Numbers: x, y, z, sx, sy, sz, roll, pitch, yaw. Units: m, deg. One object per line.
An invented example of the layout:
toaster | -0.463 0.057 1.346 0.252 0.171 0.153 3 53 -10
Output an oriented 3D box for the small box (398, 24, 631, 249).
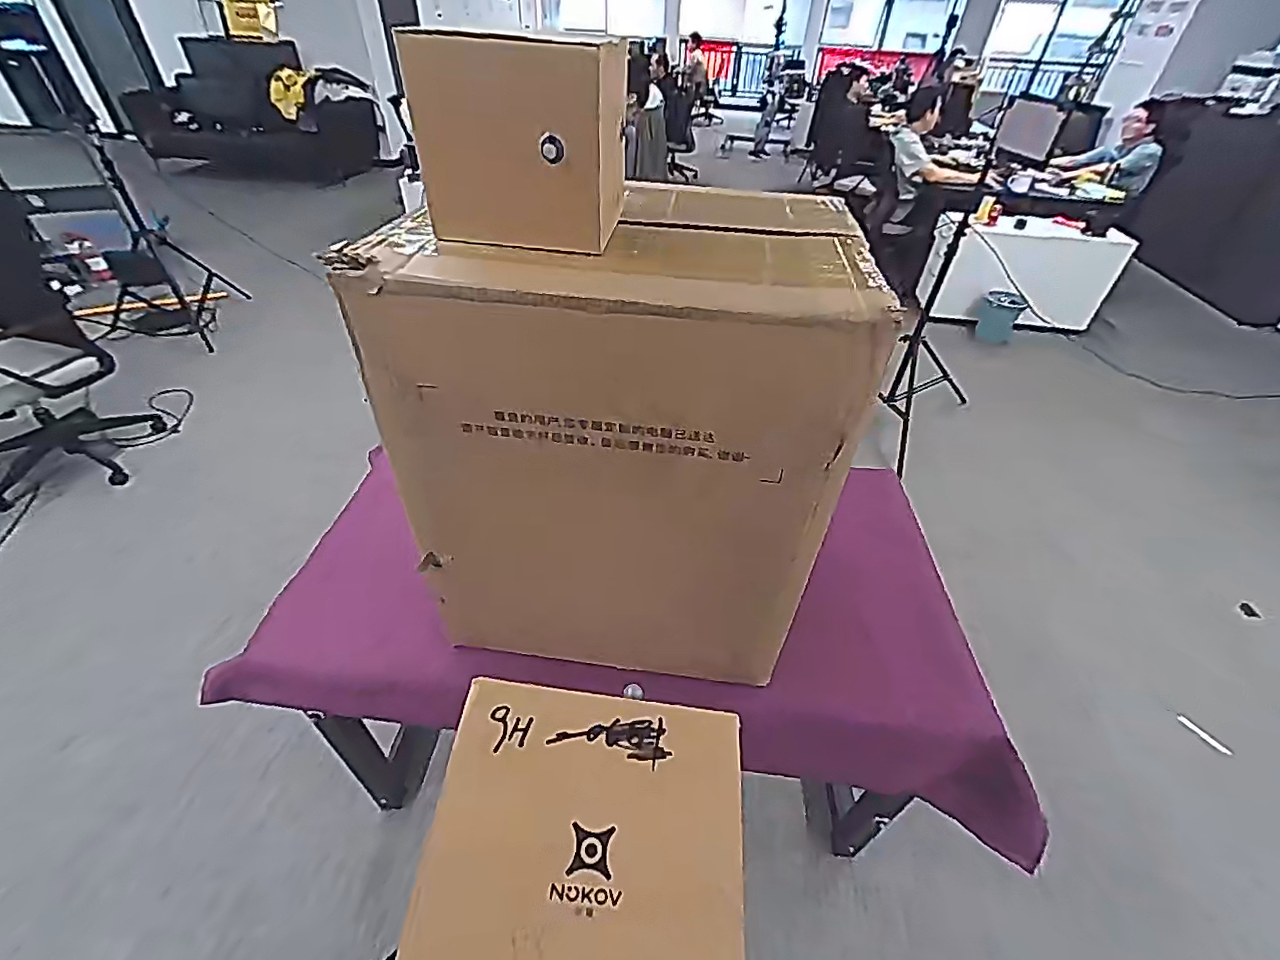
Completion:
small box | -0.107 -0.348 0.550 0.179 0.176 0.168 6 40 4

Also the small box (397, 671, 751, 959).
small box | -0.035 0.240 0.335 0.168 0.176 0.179 9 54 -4
